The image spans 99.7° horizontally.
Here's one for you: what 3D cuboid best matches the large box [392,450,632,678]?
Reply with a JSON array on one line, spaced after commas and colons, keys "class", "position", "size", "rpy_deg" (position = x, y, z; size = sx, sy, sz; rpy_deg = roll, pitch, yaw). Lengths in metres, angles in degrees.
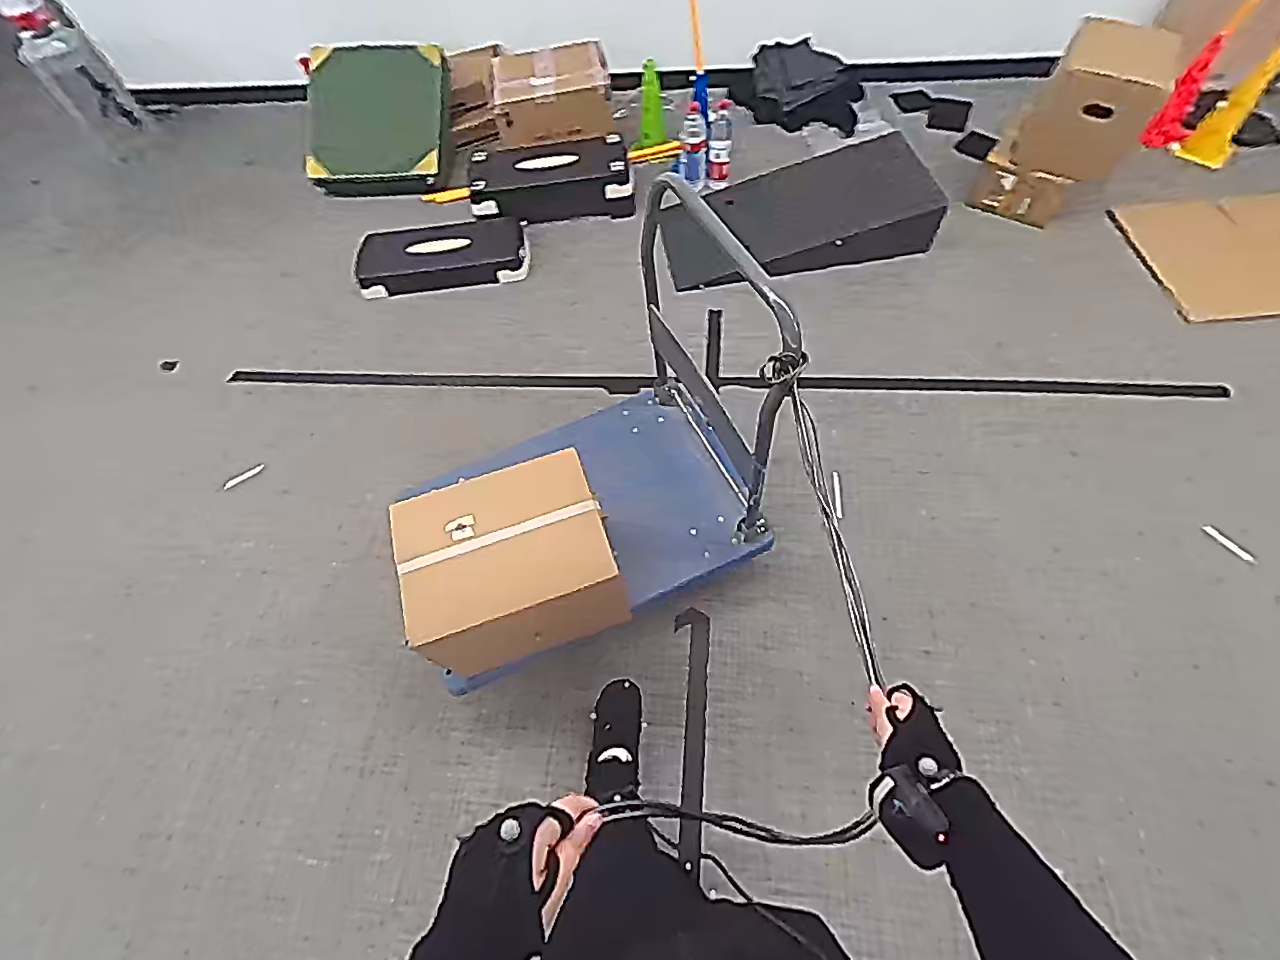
[{"class": "large box", "position": [-0.263, 0.194, 1.188], "size": [0.408, 0.320, 0.320], "rpy_deg": [-19, 60, -6]}]
